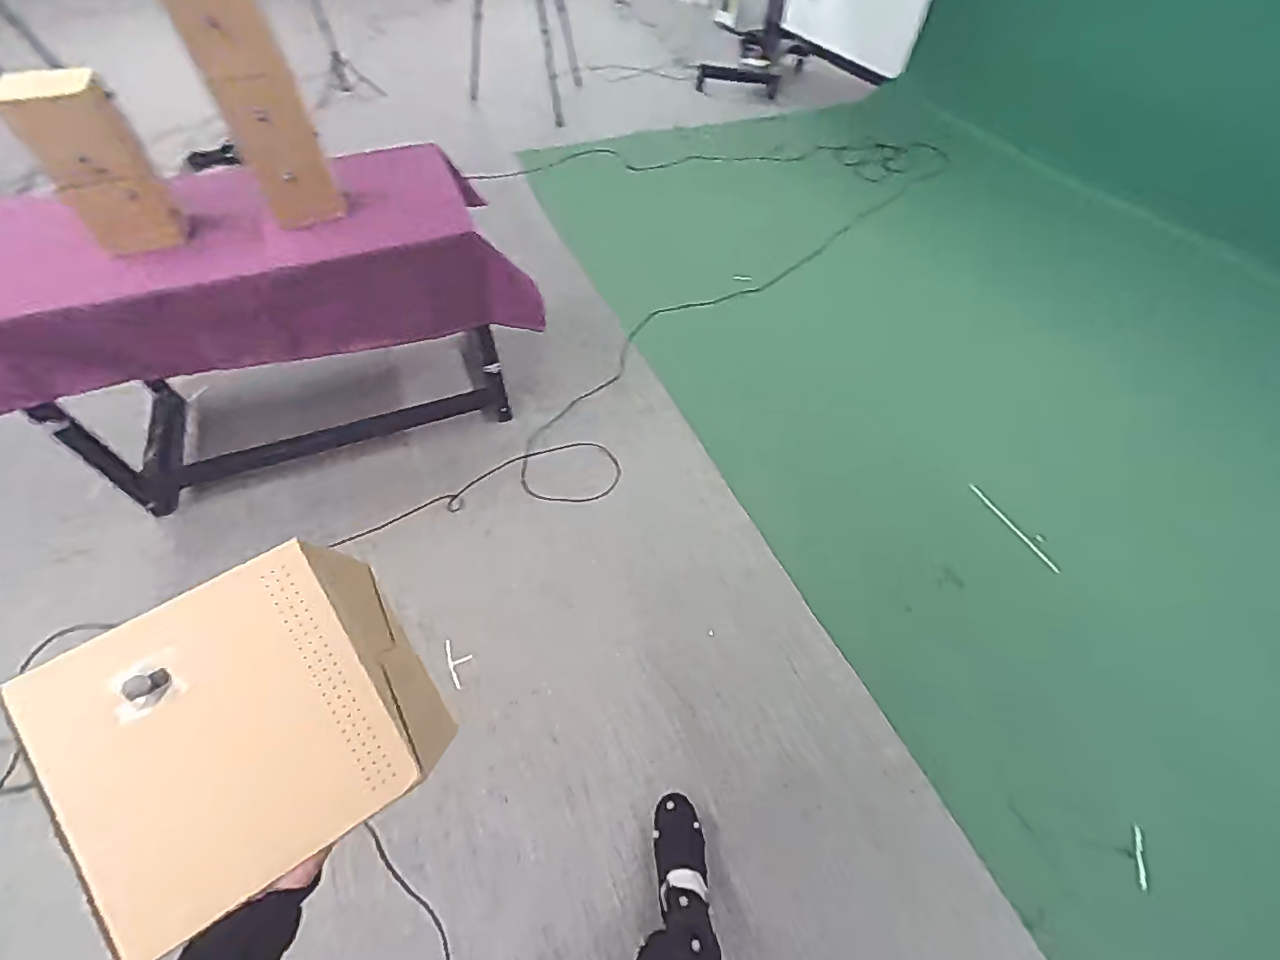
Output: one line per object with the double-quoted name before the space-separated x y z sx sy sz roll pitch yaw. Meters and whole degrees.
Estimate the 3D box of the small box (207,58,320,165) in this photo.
"small box" -0.898 -0.892 1.307 0.179 0.176 0.168 -19 56 -14

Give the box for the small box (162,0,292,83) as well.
"small box" -0.898 -0.993 1.177 0.179 0.176 0.168 -20 56 -15

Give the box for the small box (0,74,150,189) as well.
"small box" -1.253 -0.782 1.215 0.168 0.176 0.179 -19 55 -16

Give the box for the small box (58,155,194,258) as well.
"small box" -1.262 -0.675 1.341 0.179 0.176 0.168 -19 55 -16

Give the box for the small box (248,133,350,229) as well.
"small box" -0.900 -0.791 1.436 0.179 0.176 0.168 -18 55 -15
